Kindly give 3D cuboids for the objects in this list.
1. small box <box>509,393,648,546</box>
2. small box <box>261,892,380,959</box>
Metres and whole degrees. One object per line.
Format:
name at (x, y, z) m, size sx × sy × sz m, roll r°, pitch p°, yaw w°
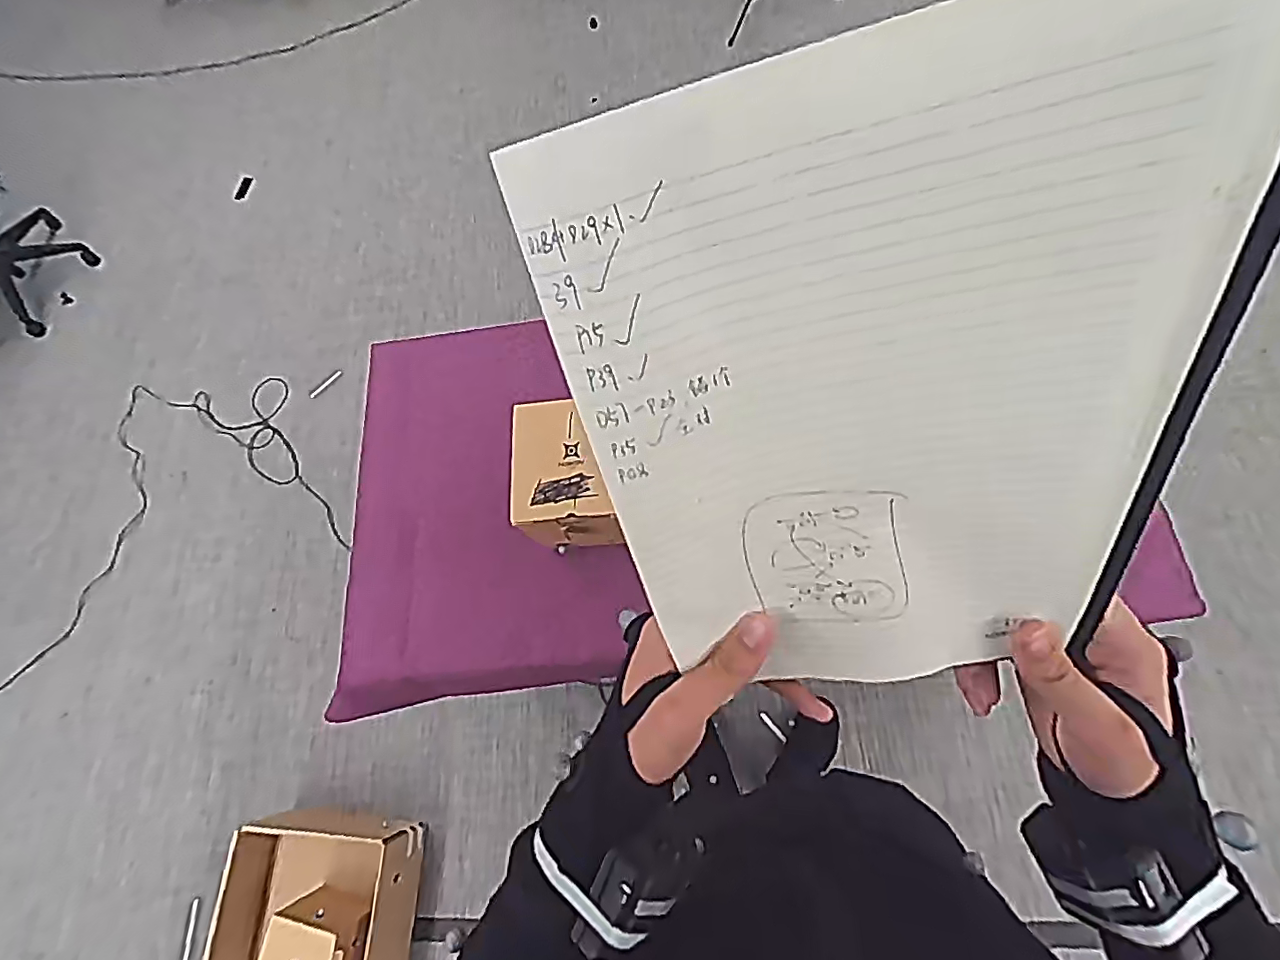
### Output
small box at (-0.081, -0.004, 0.789) m, size 0.168 × 0.176 × 0.179 m, roll -6°, pitch 70°, yaw 6°
small box at (-0.738, 1.091, 1.245) m, size 0.179 × 0.176 × 0.168 m, roll 7°, pitch 73°, yaw 11°
